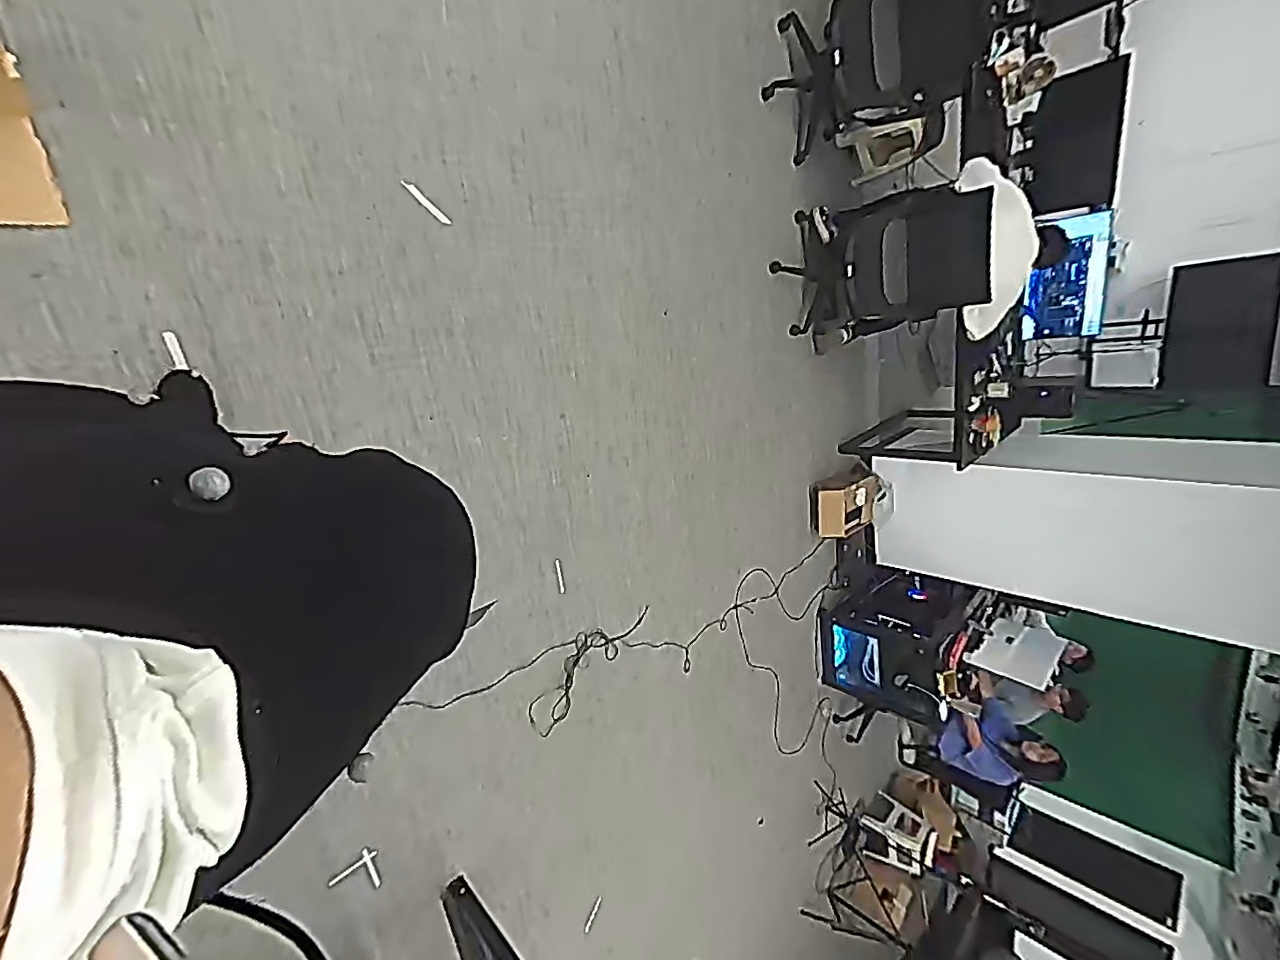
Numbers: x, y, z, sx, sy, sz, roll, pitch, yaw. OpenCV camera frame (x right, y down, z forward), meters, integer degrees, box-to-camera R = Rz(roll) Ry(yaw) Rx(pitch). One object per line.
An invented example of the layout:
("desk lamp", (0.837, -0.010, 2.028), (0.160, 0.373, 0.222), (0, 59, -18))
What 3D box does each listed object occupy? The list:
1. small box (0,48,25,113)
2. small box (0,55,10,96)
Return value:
("small box", (-1.212, -0.742, 0.913), (0.179, 0.176, 0.168), (-32, 117, -36))
("small box", (-1.096, -0.714, 0.802), (0.168, 0.176, 0.179), (-20, 111, -40))
